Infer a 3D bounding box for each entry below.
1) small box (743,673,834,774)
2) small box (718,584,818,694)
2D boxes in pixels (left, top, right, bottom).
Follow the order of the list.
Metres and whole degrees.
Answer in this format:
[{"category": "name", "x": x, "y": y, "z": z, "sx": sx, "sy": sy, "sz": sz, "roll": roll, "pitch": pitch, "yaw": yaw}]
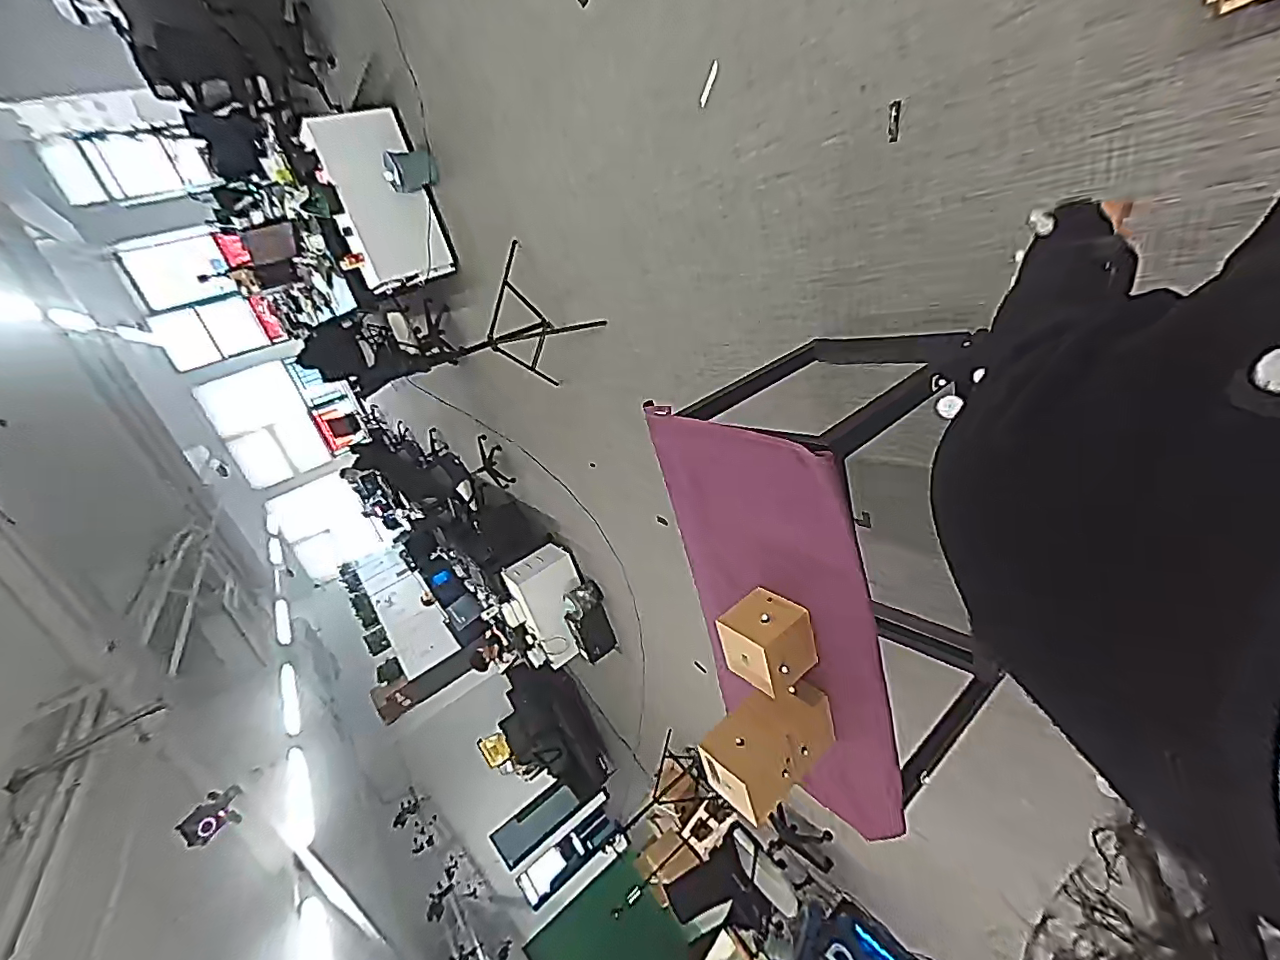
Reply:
[{"category": "small box", "x": 0.413, "y": 0.648, "z": 1.484, "sx": 0.168, "sy": 0.176, "sz": 0.179, "roll": 18, "pitch": 131, "yaw": 53}, {"category": "small box", "x": 0.330, "y": 0.396, "z": 1.379, "sx": 0.168, "sy": 0.176, "sz": 0.179, "roll": 19, "pitch": 133, "yaw": 53}]
